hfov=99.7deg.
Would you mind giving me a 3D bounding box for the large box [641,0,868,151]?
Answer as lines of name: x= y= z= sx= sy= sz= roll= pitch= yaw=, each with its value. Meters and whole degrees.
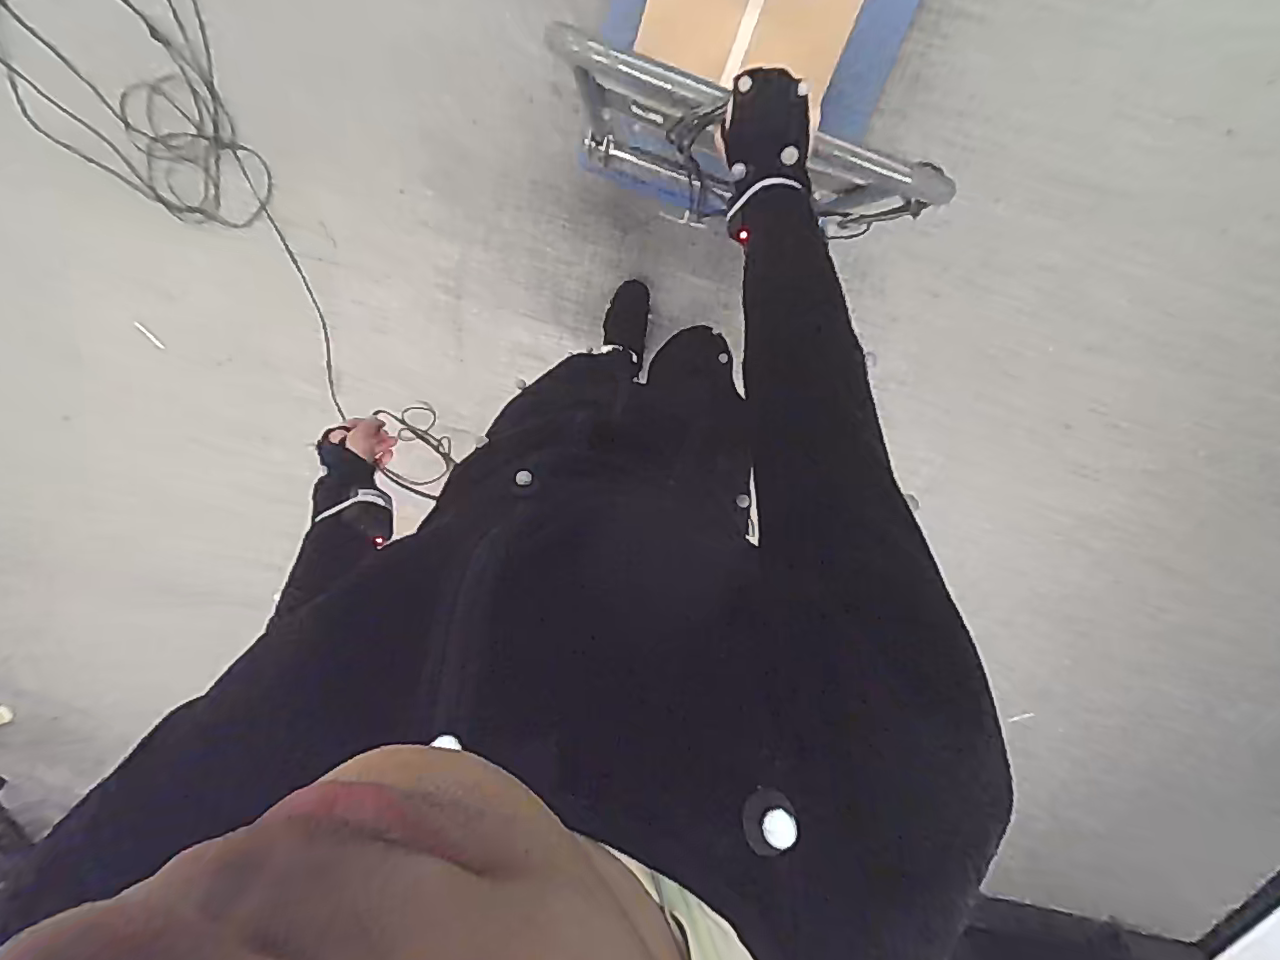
large box: x=0.215 y=-0.855 z=0.923 sx=0.320 sy=0.320 sz=0.408 roll=20 pitch=113 yaw=-7
